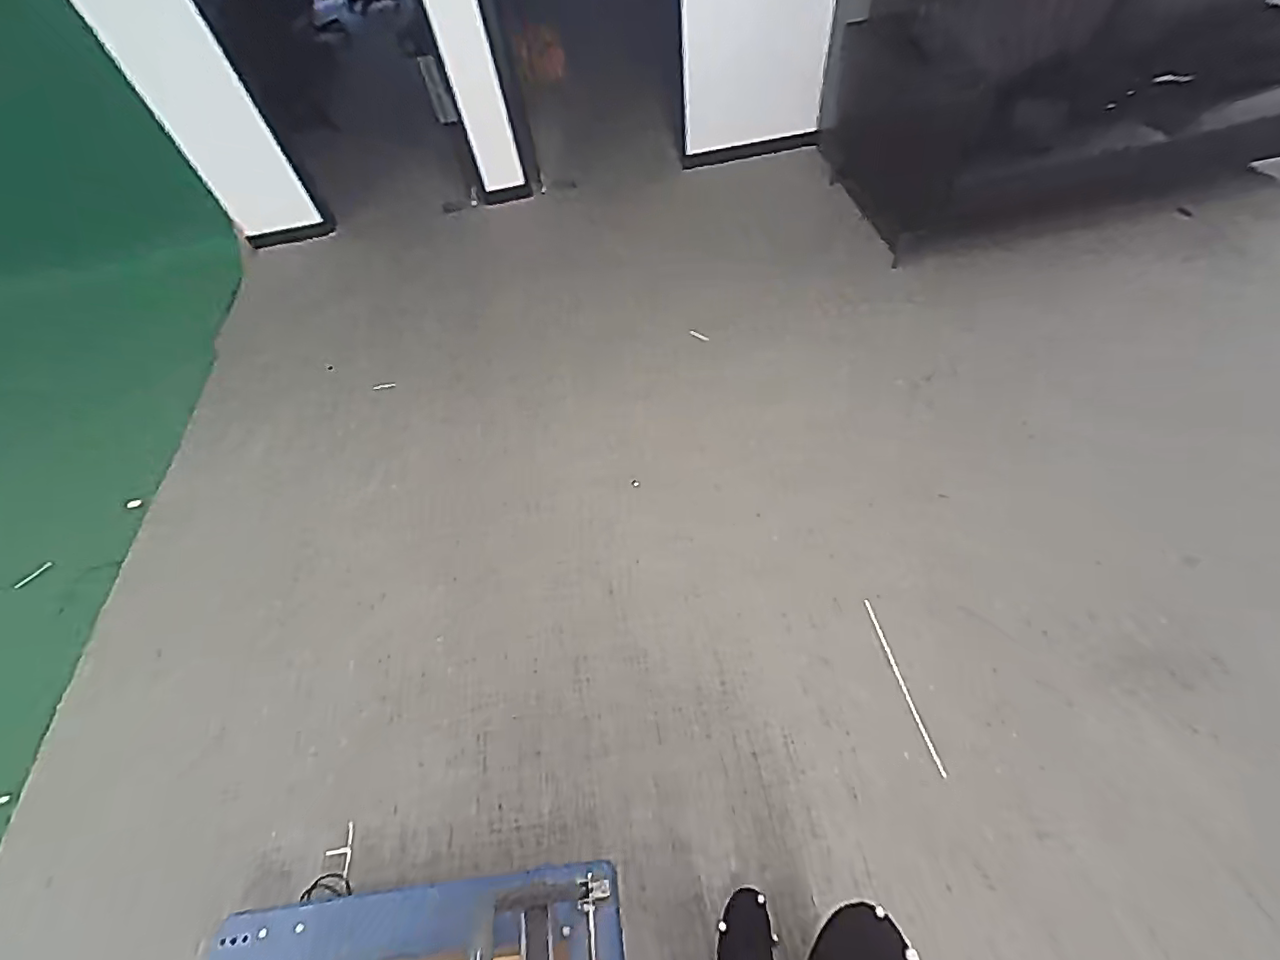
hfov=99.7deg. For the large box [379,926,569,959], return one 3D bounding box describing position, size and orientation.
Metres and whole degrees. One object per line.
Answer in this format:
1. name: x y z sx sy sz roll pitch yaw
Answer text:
1. large box: -0.337 0.992 0.905 0.408 0.320 0.320 -10 54 1
